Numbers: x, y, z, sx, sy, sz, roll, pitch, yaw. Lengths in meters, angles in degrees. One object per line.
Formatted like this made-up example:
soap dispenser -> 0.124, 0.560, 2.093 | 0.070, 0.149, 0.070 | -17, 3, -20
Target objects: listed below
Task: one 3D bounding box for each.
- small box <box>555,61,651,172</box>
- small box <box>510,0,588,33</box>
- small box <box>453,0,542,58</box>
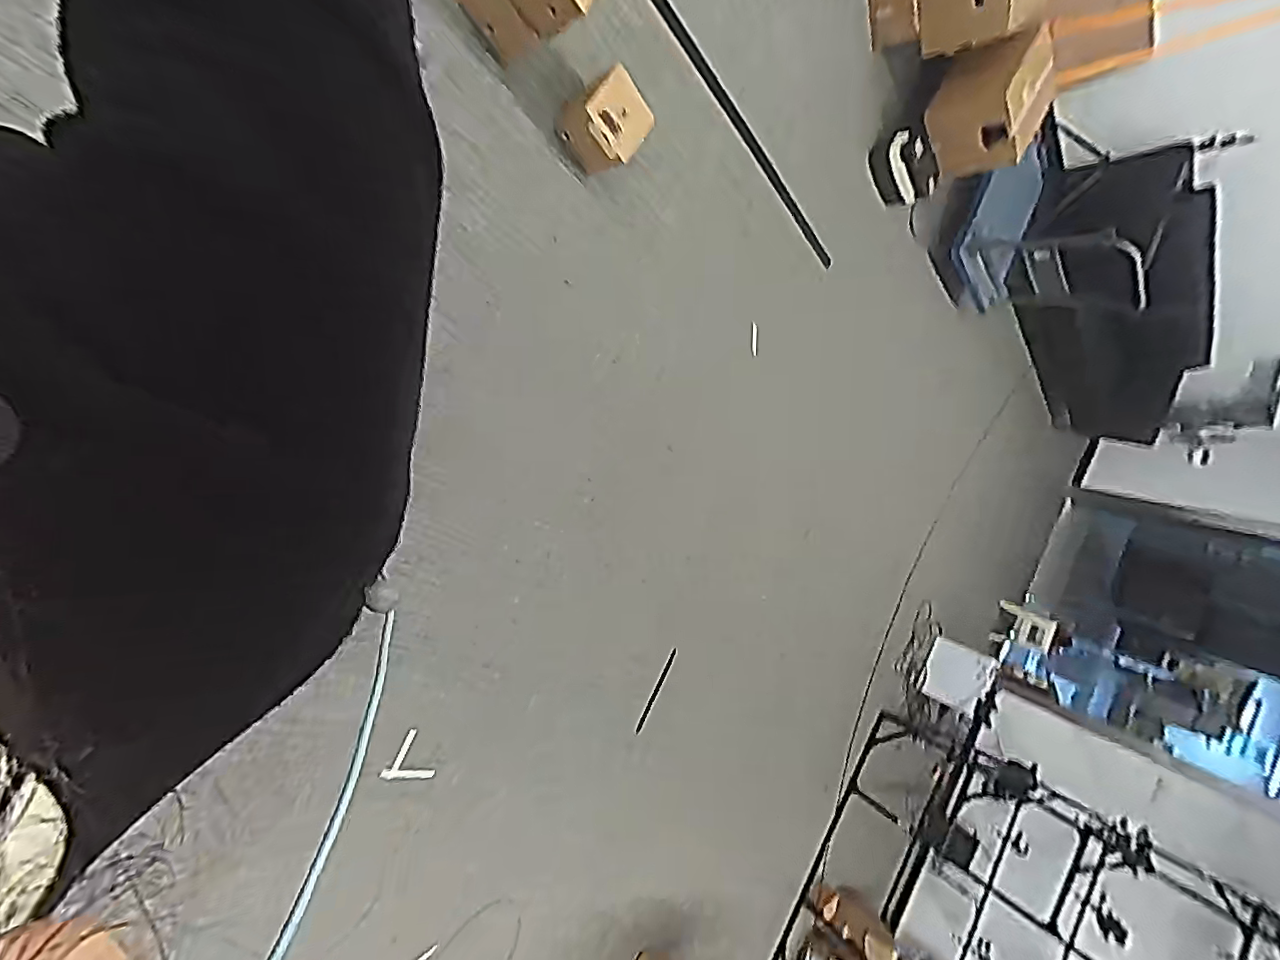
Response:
small box -> -0.110, -0.994, 1.498 | 0.168, 0.176, 0.179 | 39, 77, -40
small box -> -0.197, -1.121, 1.169 | 0.179, 0.176, 0.168 | 33, 81, -40
small box -> -0.311, -1.150, 1.284 | 0.179, 0.176, 0.168 | 39, 77, -41
